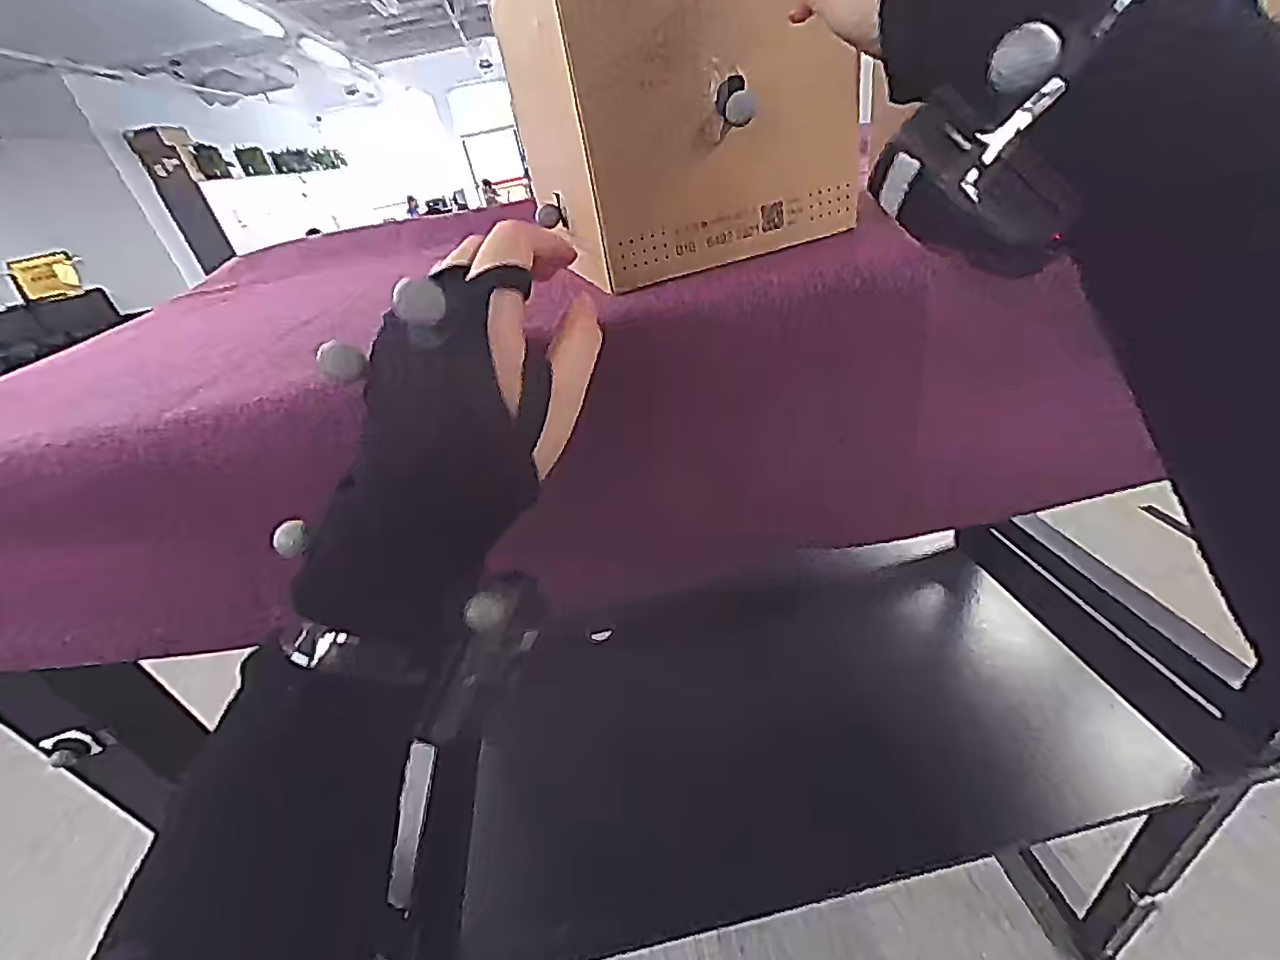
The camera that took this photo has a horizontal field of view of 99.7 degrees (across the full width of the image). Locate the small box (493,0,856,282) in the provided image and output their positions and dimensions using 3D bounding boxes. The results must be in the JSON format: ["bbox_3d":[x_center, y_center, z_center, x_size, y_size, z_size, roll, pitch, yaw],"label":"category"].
[{"bbox_3d":[0.020,-0.237,0.345,0.168,0.176,0.179,-19,33,-11],"label":"small box"}]

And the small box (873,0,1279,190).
[{"bbox_3d":[0.282,-0.304,0.365,0.168,0.176,0.179,-15,31,-6],"label":"small box"}]
